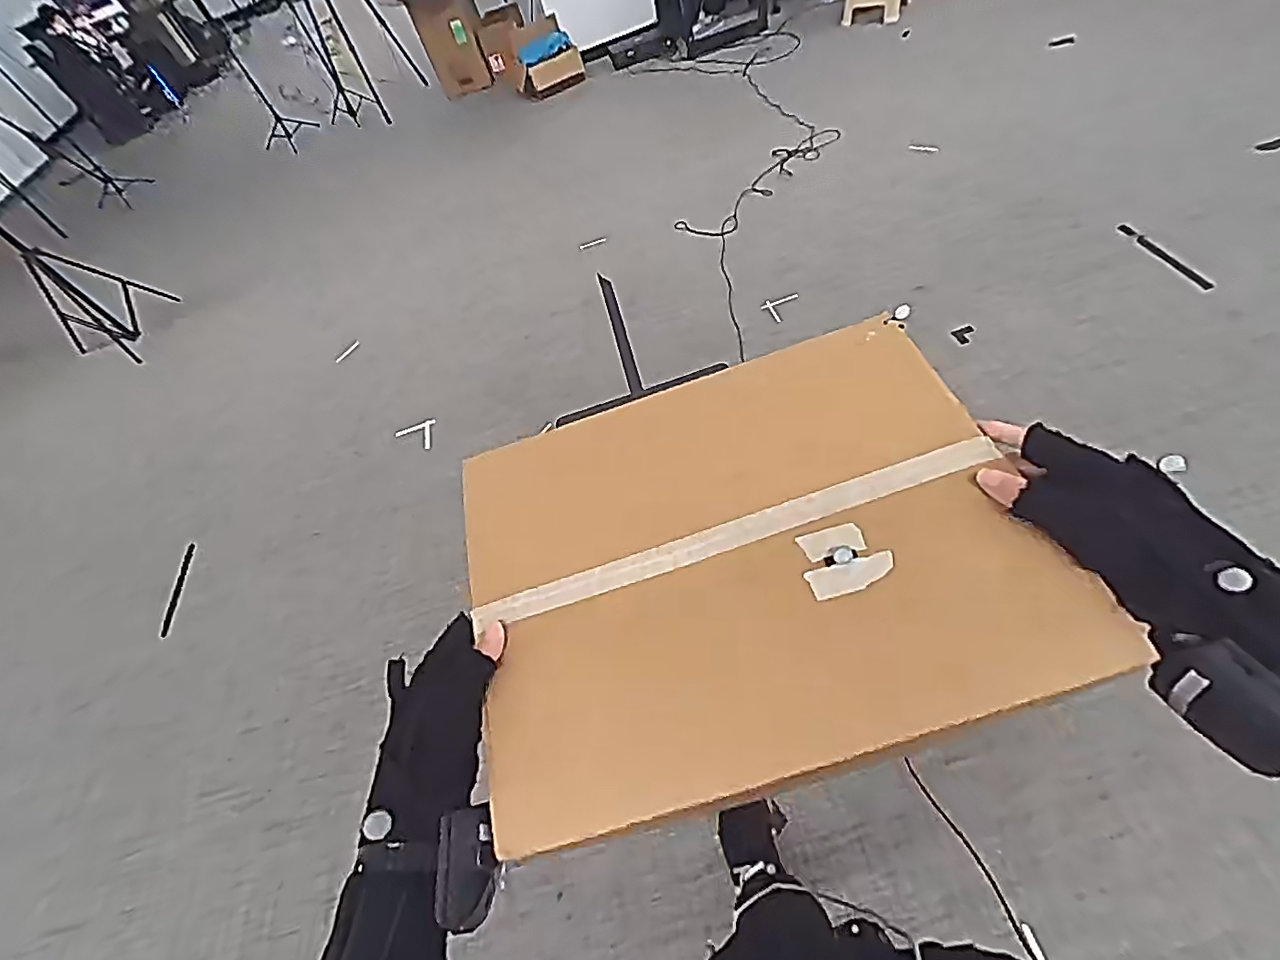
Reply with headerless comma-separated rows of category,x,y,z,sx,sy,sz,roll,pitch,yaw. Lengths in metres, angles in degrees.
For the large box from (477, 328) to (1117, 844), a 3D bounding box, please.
large box,0.101,0.122,0.542,0.408,0.320,0.320,-19,57,2
